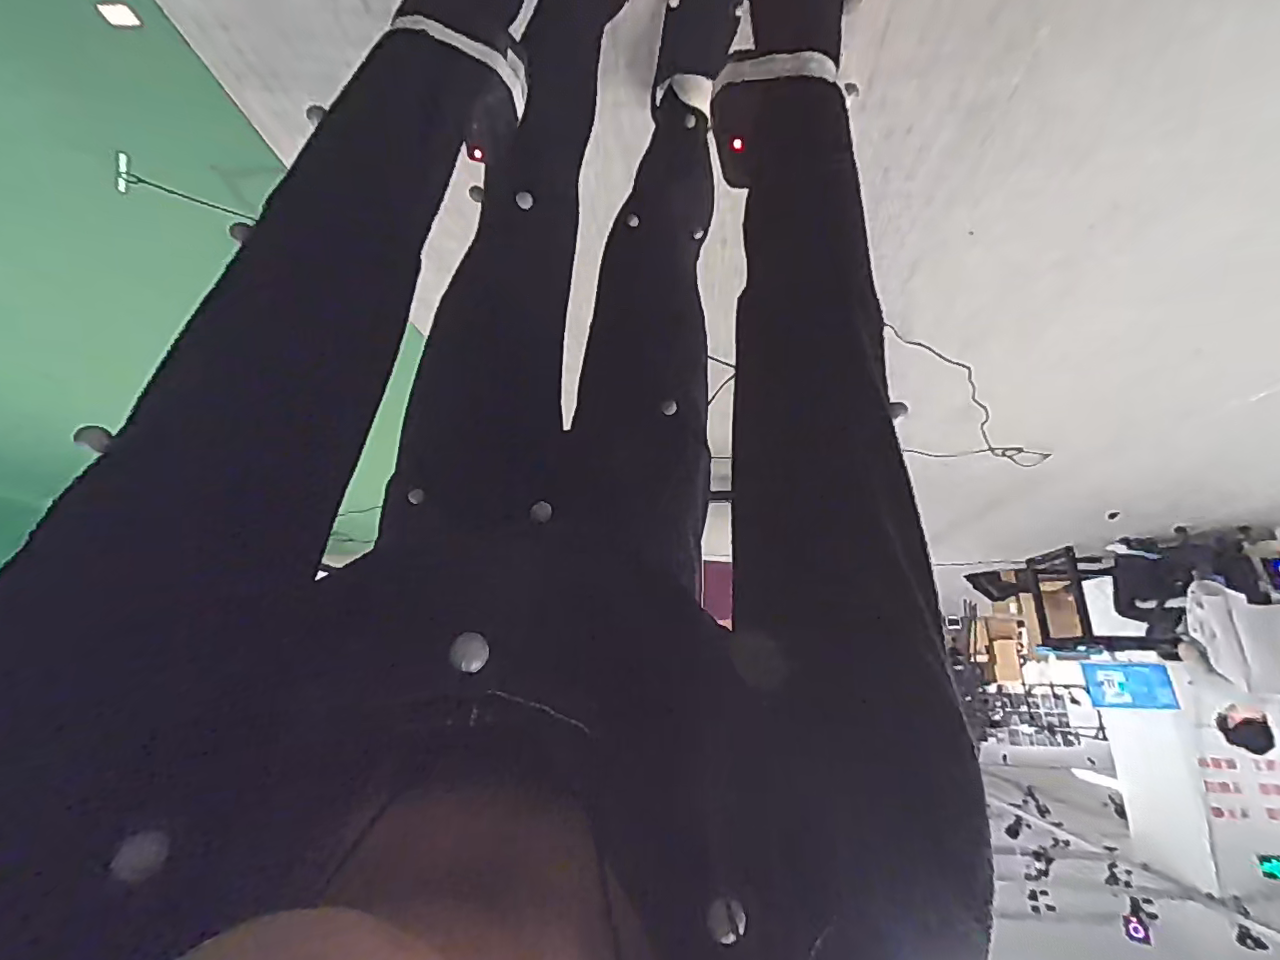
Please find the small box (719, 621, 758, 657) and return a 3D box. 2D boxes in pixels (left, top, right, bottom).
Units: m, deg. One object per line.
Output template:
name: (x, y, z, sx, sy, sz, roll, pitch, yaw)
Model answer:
small box: (0.491, 0.800, 2.720, 0.179, 0.176, 0.168, 1, 162, 3)
